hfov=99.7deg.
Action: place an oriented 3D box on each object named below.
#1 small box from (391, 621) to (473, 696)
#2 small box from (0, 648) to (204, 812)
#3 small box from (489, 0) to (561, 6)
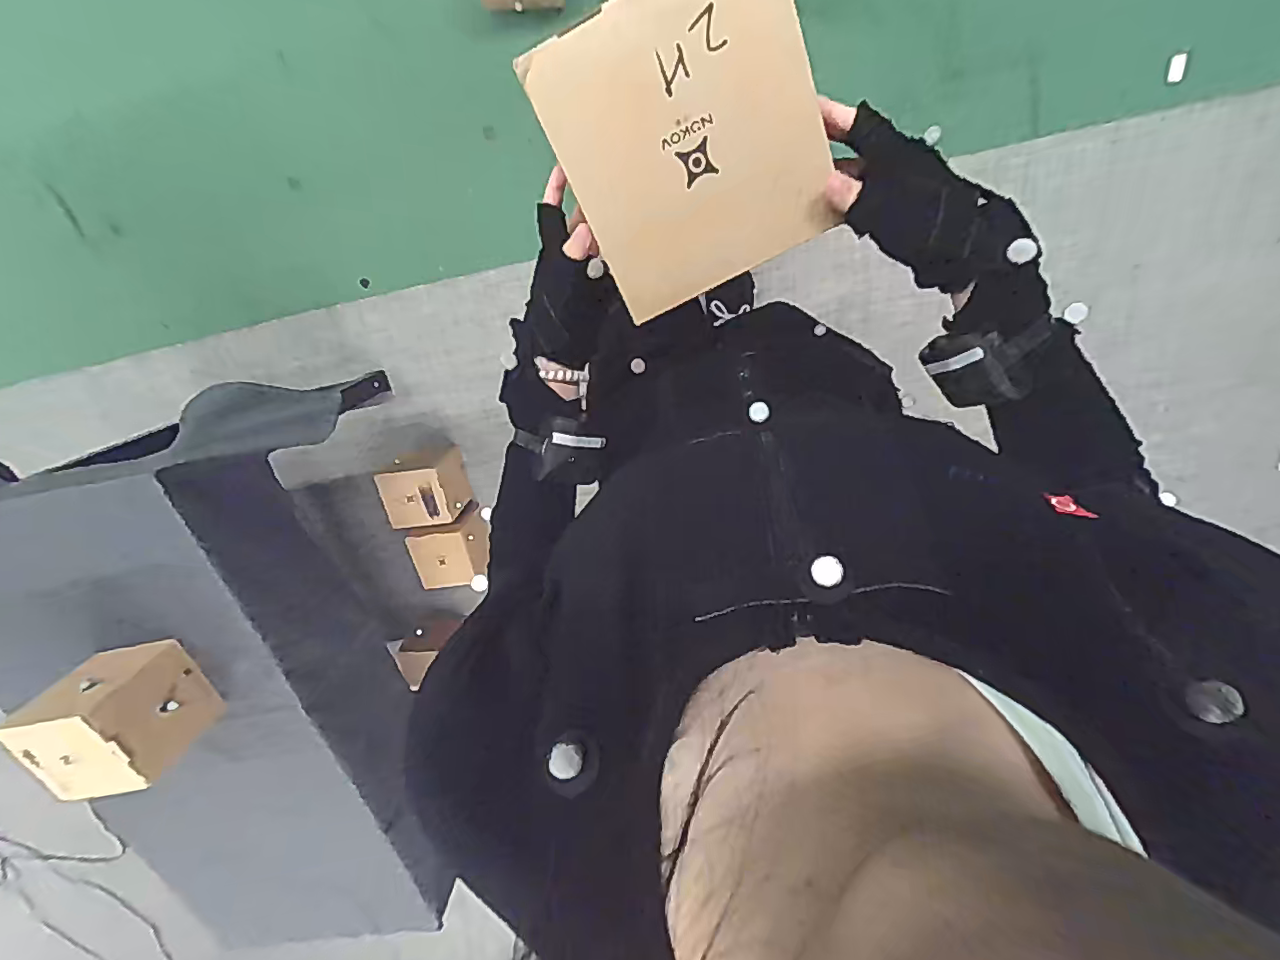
[{"bbox_3d":[-0.663,0.572,1.742,0.179,0.176,0.168,-2,115,4],"label":"small box"},{"bbox_3d":[-0.865,0.396,0.877,0.179,0.176,0.168,-12,113,7],"label":"small box"},{"bbox_3d":[-0.242,-1.028,1.009,0.168,0.176,0.179,0,115,3],"label":"small box"}]
